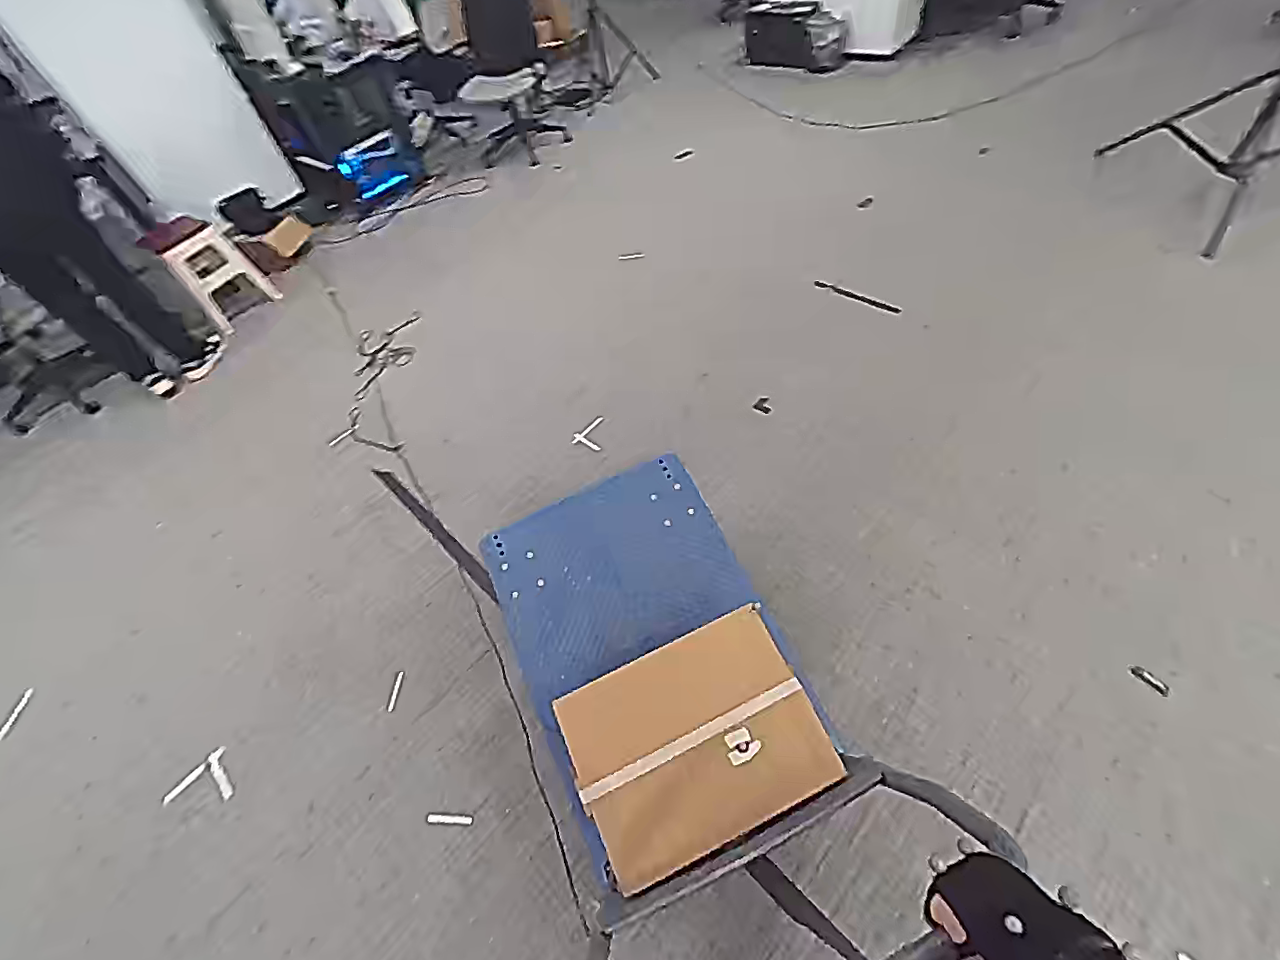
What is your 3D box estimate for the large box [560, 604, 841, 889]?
[{"bbox_3d":[0.104,0.503,1.067,0.408,0.320,0.320,-24,67,-8],"label":"large box"}]
